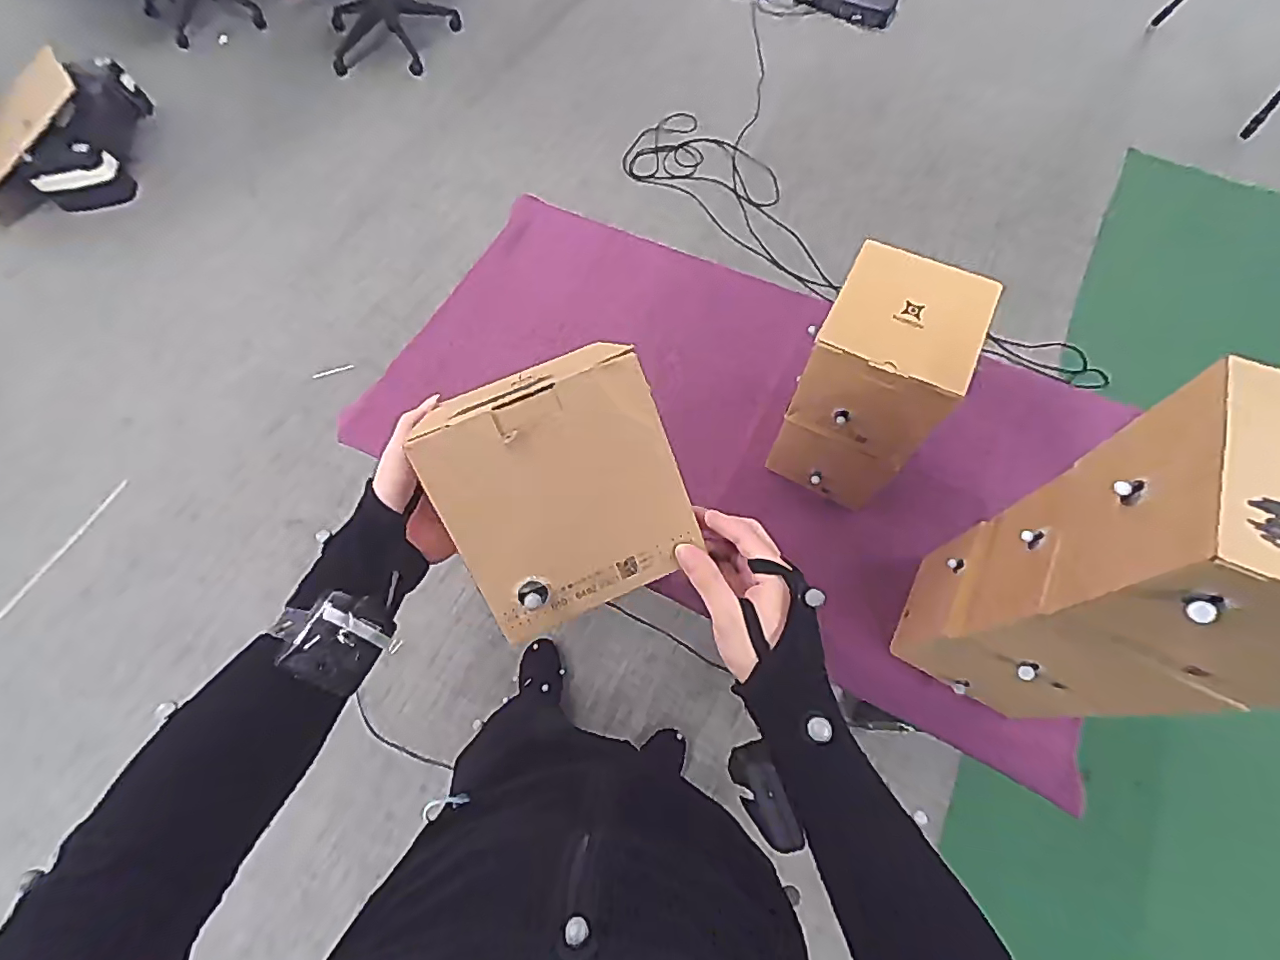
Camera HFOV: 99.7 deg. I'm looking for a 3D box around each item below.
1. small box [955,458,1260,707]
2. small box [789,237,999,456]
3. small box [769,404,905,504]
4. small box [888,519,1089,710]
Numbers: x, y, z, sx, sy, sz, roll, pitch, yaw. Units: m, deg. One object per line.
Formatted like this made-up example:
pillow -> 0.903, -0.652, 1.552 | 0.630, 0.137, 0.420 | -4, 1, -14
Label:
small box -> 0.467, 0.114, 0.565 | 0.168, 0.176, 0.179 | 28, 69, 14
small box -> 0.308, -0.161, 0.690 | 0.168, 0.176, 0.179 | 26, 71, 11
small box -> 0.317, -0.093, 0.837 | 0.168, 0.176, 0.179 | 28, 70, 13
small box -> 0.466, 0.182, 0.715 | 0.179, 0.176, 0.168 | 28, 69, 14
